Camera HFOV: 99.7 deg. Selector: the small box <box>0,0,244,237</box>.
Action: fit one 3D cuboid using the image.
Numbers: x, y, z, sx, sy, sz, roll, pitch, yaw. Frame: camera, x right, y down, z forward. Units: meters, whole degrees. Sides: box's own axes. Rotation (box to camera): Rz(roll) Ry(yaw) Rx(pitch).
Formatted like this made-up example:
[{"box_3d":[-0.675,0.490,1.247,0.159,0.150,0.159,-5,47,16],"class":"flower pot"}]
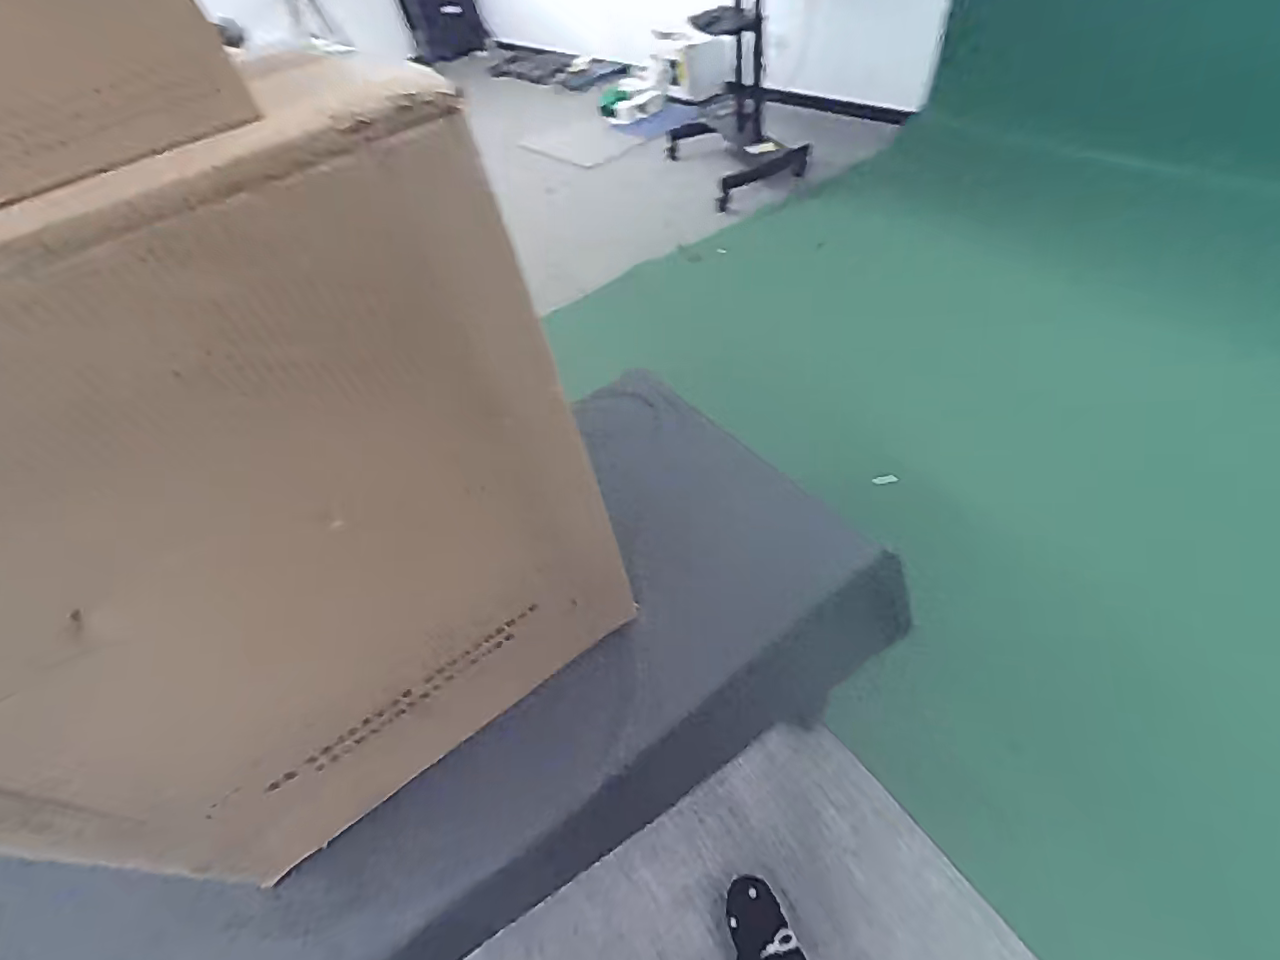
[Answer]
[{"box_3d":[-0.321,-0.233,0.248,0.179,0.176,0.168,-33,52,-16],"class":"small box"}]
